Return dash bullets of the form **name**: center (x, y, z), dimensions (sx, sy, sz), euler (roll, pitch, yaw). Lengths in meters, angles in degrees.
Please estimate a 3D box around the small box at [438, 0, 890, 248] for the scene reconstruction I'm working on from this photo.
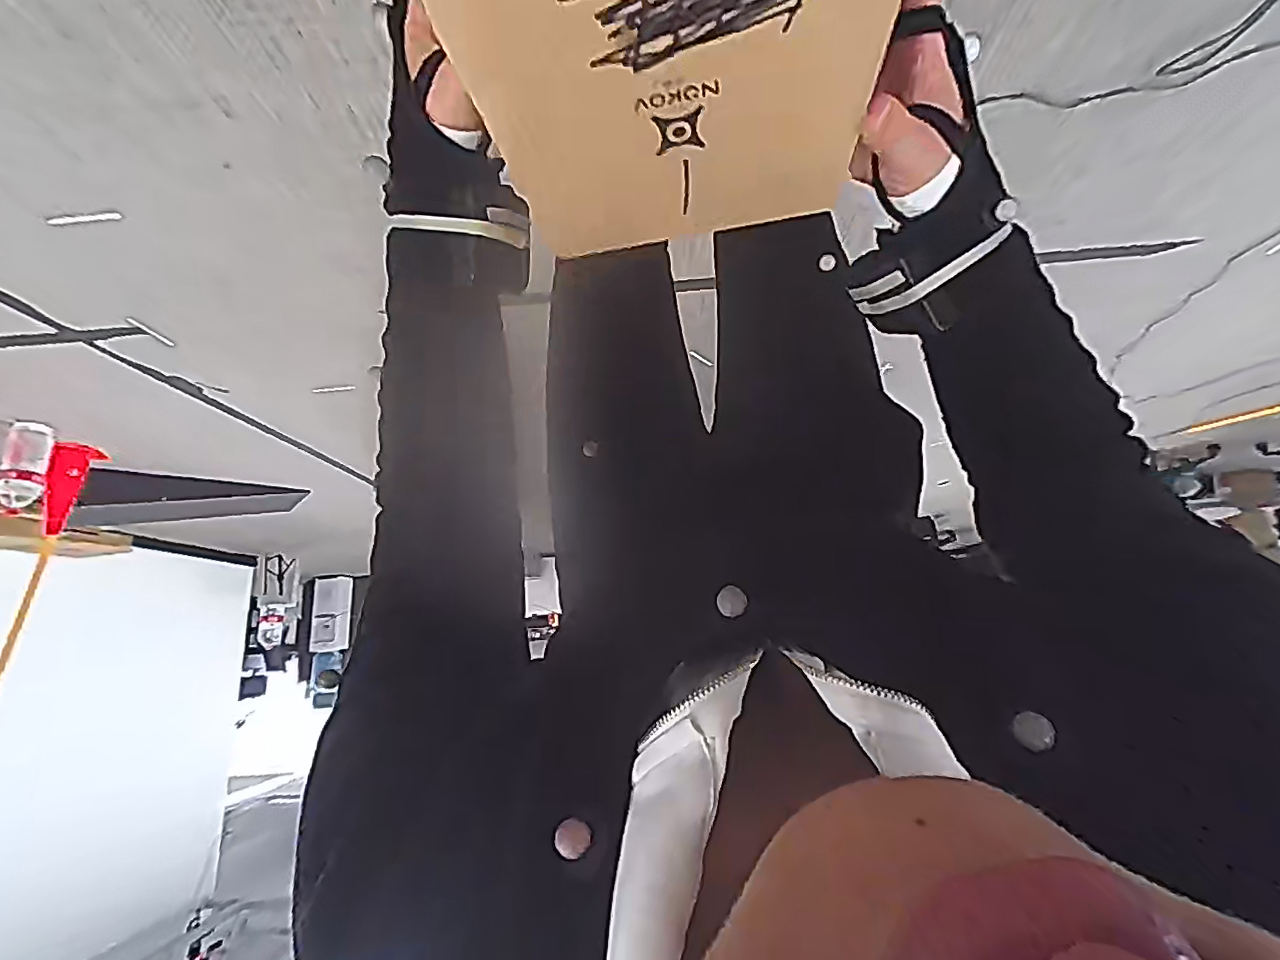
- **small box**: center (0.008, -0.245, 0.253), dimensions (0.168, 0.176, 0.179), euler (-7, 170, 6)
